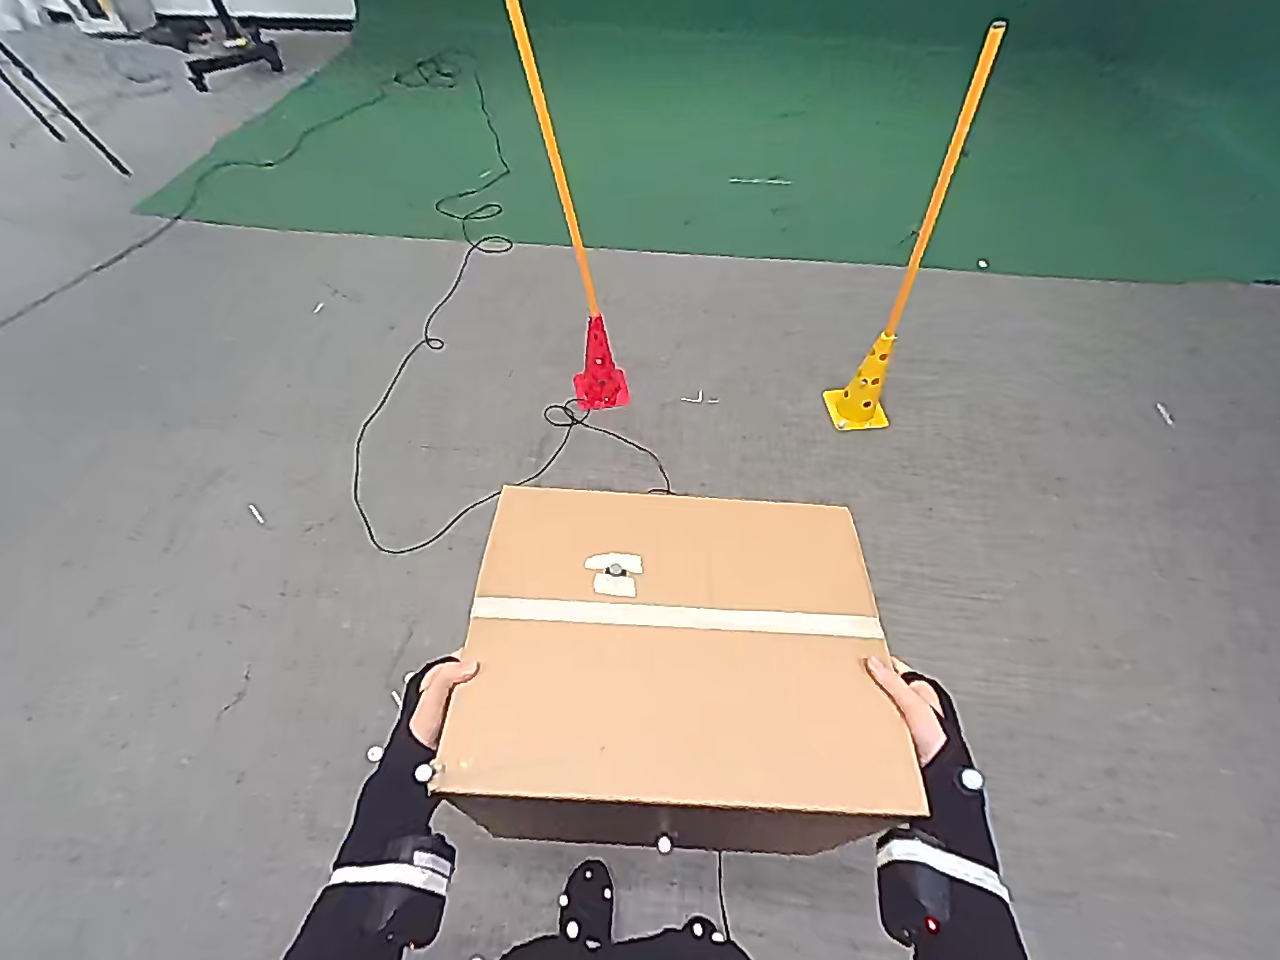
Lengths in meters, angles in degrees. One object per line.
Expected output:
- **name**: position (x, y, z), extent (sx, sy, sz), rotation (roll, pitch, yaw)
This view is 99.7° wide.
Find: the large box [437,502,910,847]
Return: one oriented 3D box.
- **large box**: position (0.030, 0.245, 0.657), extent (0.408, 0.320, 0.320), rotation (3, 50, 0)
